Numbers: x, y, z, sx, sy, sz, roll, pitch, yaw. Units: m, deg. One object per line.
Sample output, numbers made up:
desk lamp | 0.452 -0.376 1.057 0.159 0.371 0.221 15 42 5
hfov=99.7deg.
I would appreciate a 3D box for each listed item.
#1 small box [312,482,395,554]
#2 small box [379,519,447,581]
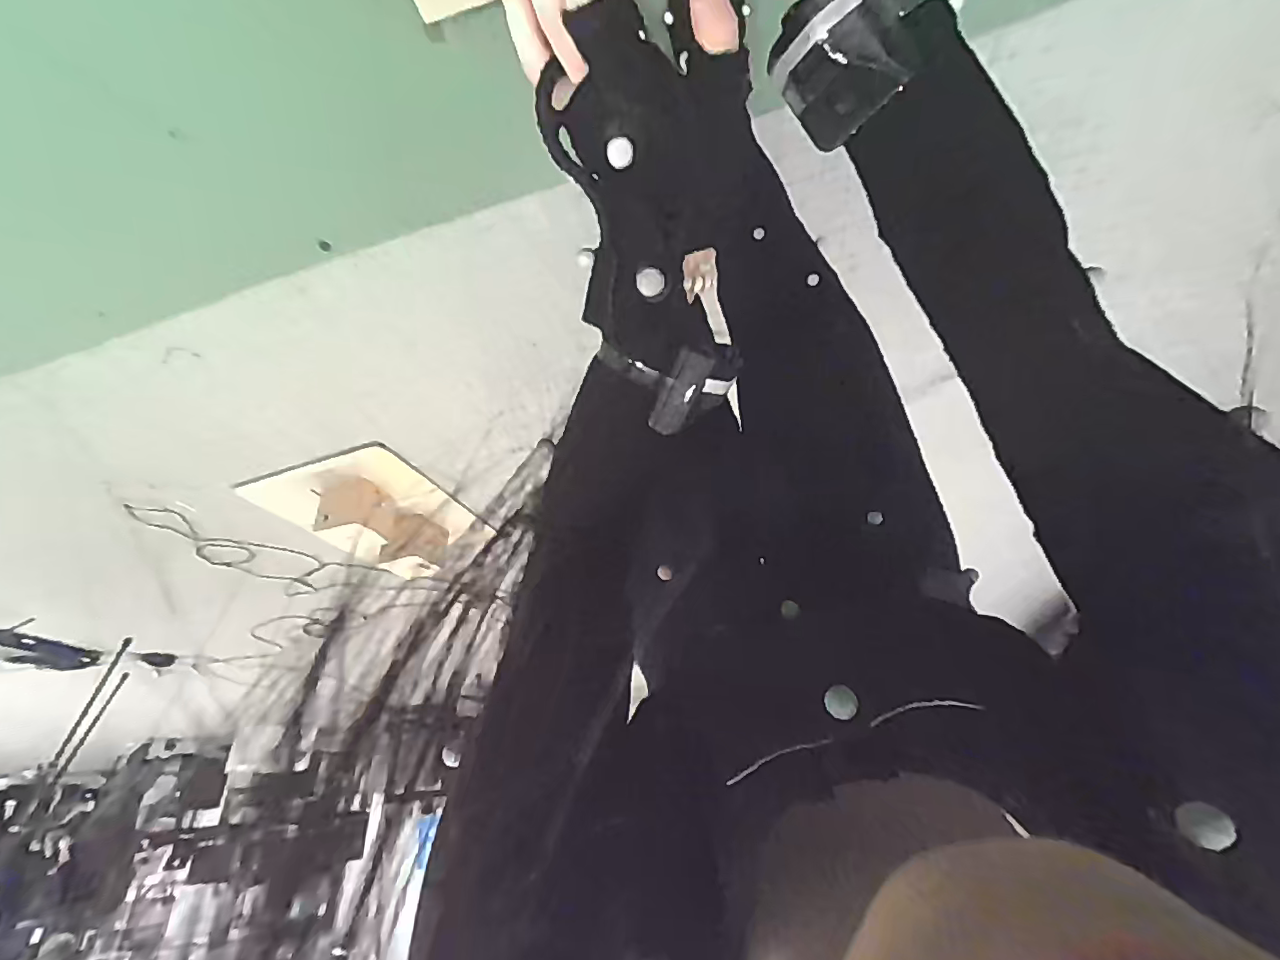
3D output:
small box | -0.963 0.129 1.835 0.179 0.176 0.168 -13 147 10
small box | -0.856 0.265 2.054 0.179 0.176 0.168 -15 146 15
